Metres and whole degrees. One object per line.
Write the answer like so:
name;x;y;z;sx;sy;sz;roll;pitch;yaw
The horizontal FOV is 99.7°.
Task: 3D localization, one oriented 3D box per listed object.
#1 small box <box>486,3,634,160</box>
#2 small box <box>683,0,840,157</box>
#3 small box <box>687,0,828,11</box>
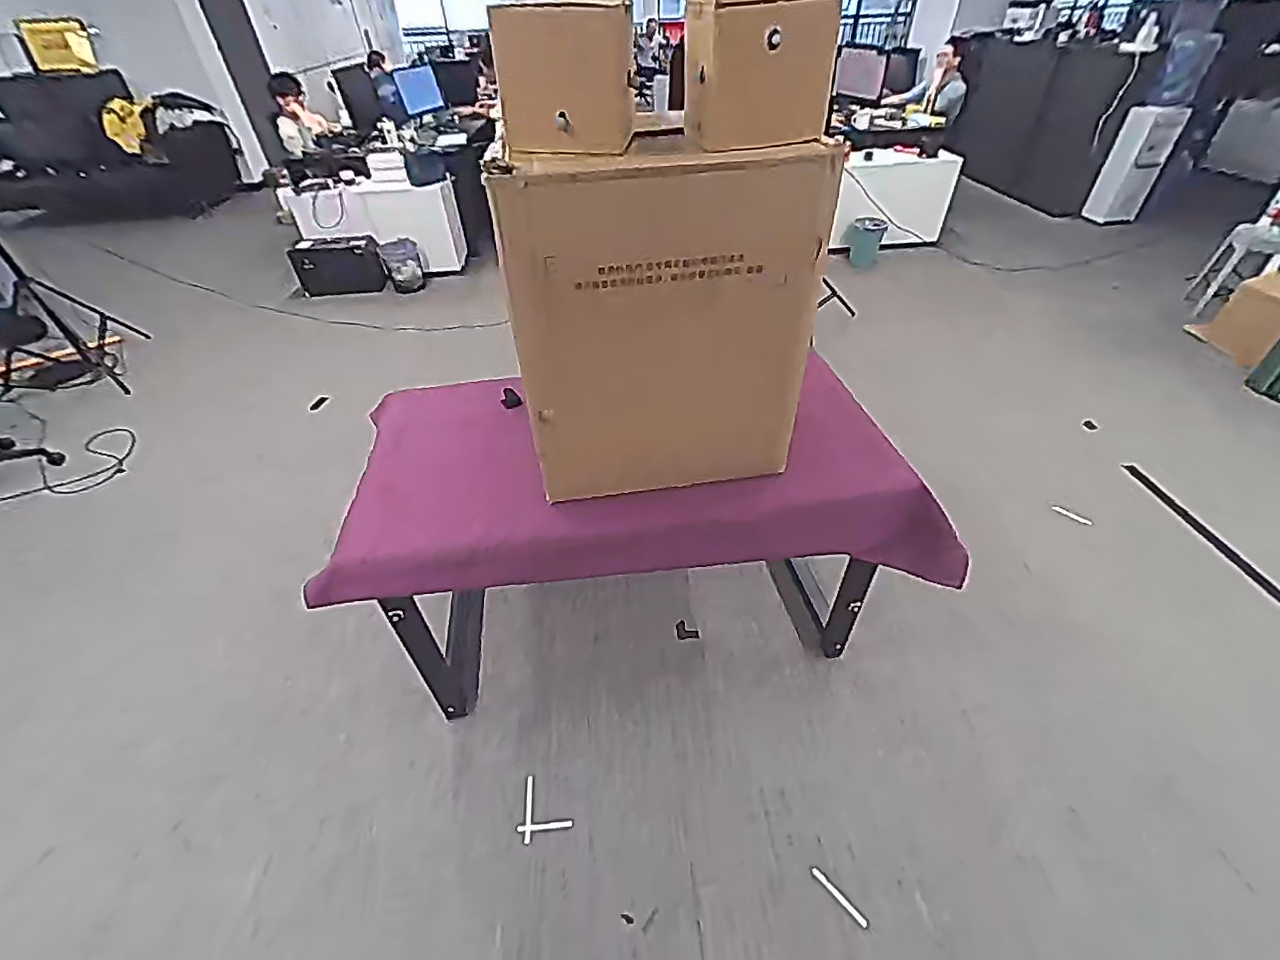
small box;-0.103;-0.587;0.800;0.179;0.176;0.168;4;44;5
small box;0.167;-0.593;0.801;0.179;0.176;0.168;-9;43;-6
small box;0.154;-0.717;0.693;0.168;0.176;0.179;-9;43;-4
